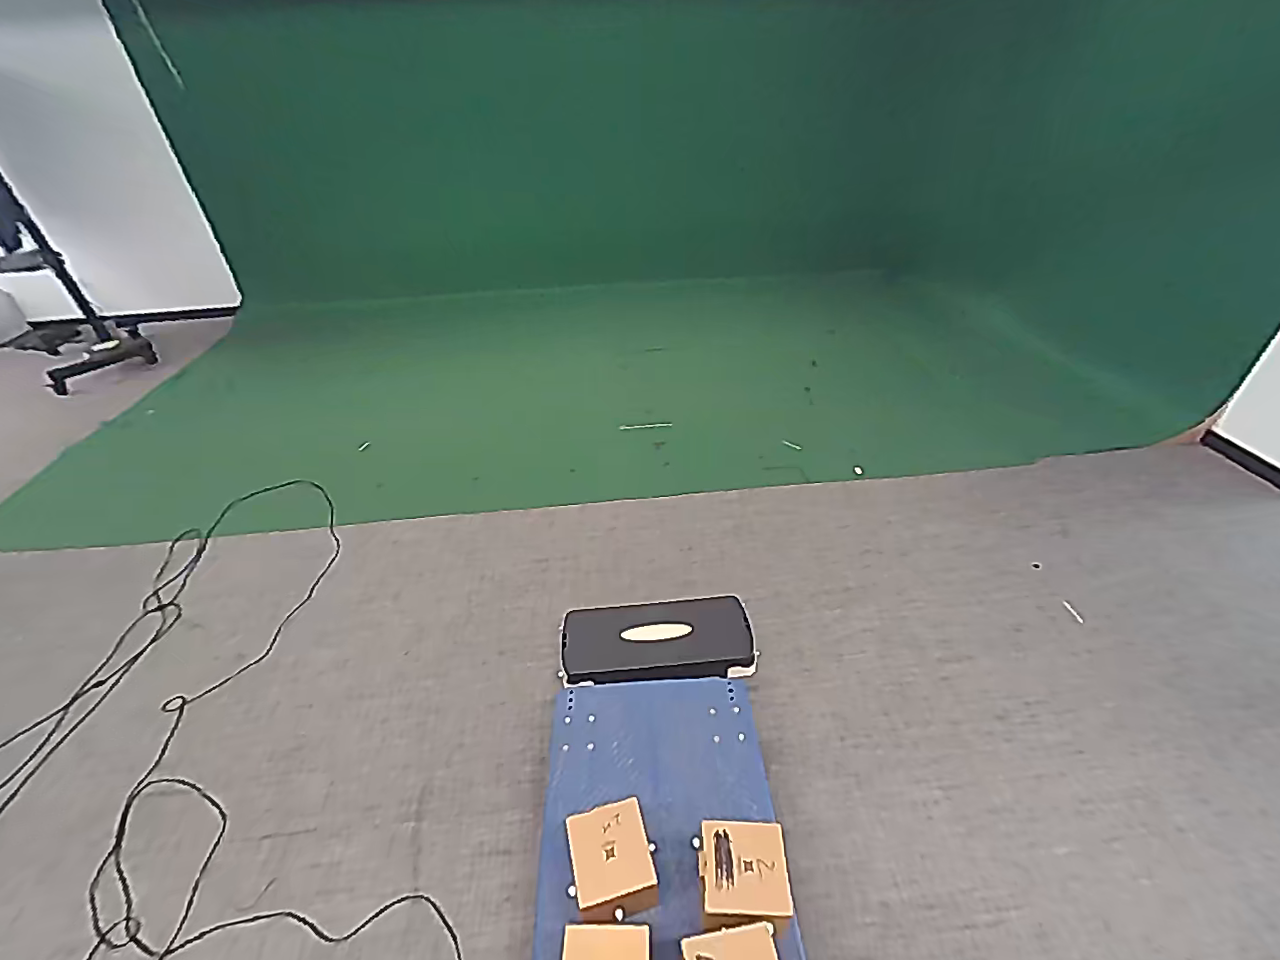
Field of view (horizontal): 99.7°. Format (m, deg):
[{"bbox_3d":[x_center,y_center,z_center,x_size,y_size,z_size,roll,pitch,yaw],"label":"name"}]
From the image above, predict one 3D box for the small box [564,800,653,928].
[{"bbox_3d":[-0.068,0.854,1.198,0.168,0.176,0.179,-9,38,-12],"label":"small box"}]
